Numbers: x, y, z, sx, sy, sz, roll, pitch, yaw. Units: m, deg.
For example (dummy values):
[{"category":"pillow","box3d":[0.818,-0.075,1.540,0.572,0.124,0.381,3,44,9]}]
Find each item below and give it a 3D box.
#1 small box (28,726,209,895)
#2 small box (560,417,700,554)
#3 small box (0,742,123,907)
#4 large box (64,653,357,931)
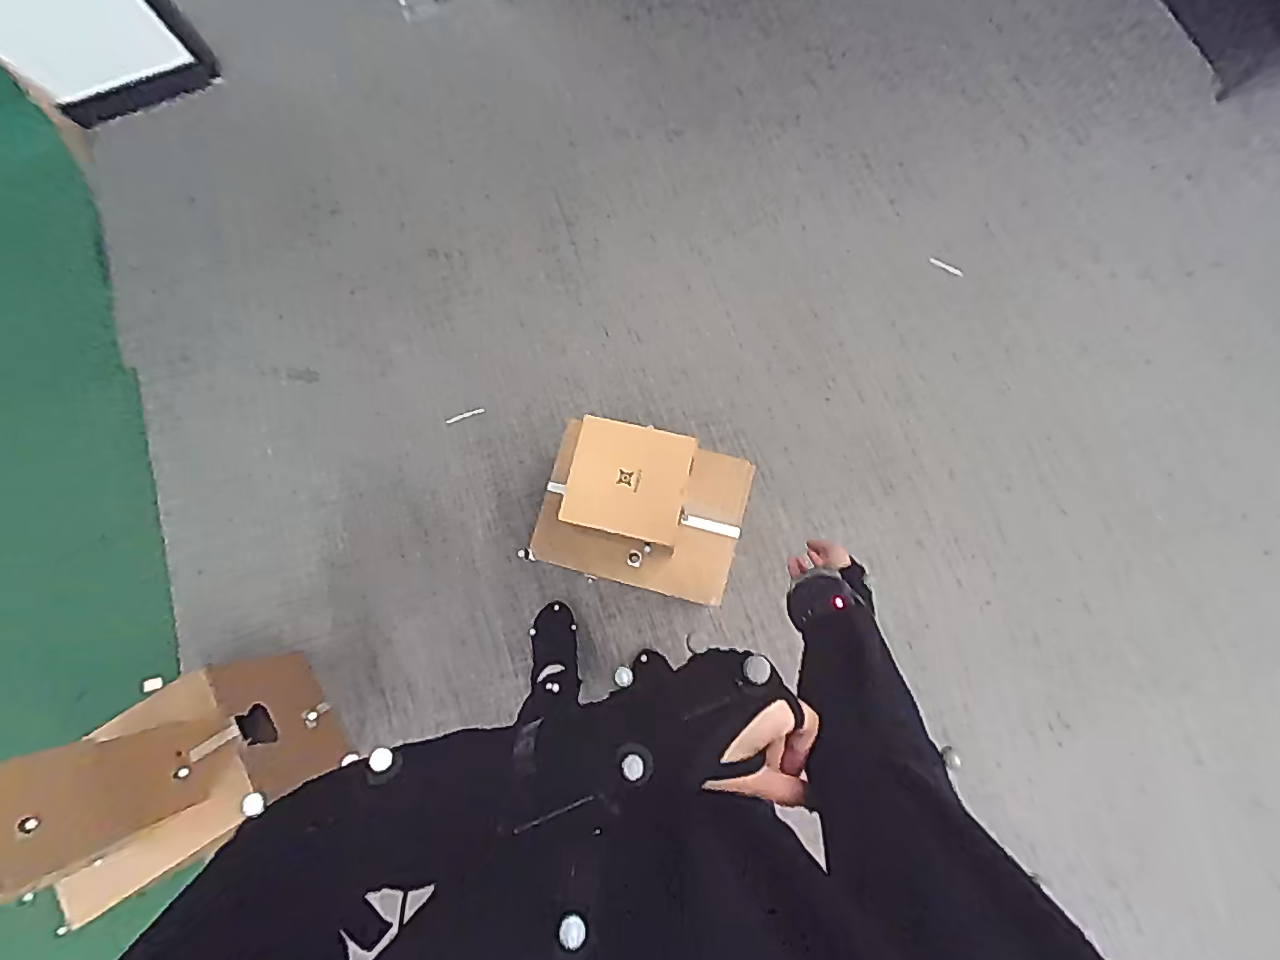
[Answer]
[{"category":"small box","box3d":[-0.930,0.569,0.958,0.179,0.176,0.168,-30,79,-4]},{"category":"small box","box3d":[-0.011,0.017,0.863,0.179,0.176,0.168,12,78,5]},{"category":"small box","box3d":[-0.931,0.524,0.800,0.168,0.176,0.179,-28,78,-3]},{"category":"large box","box3d":[-0.938,0.639,1.194,0.408,0.320,0.320,-33,76,-3]}]
